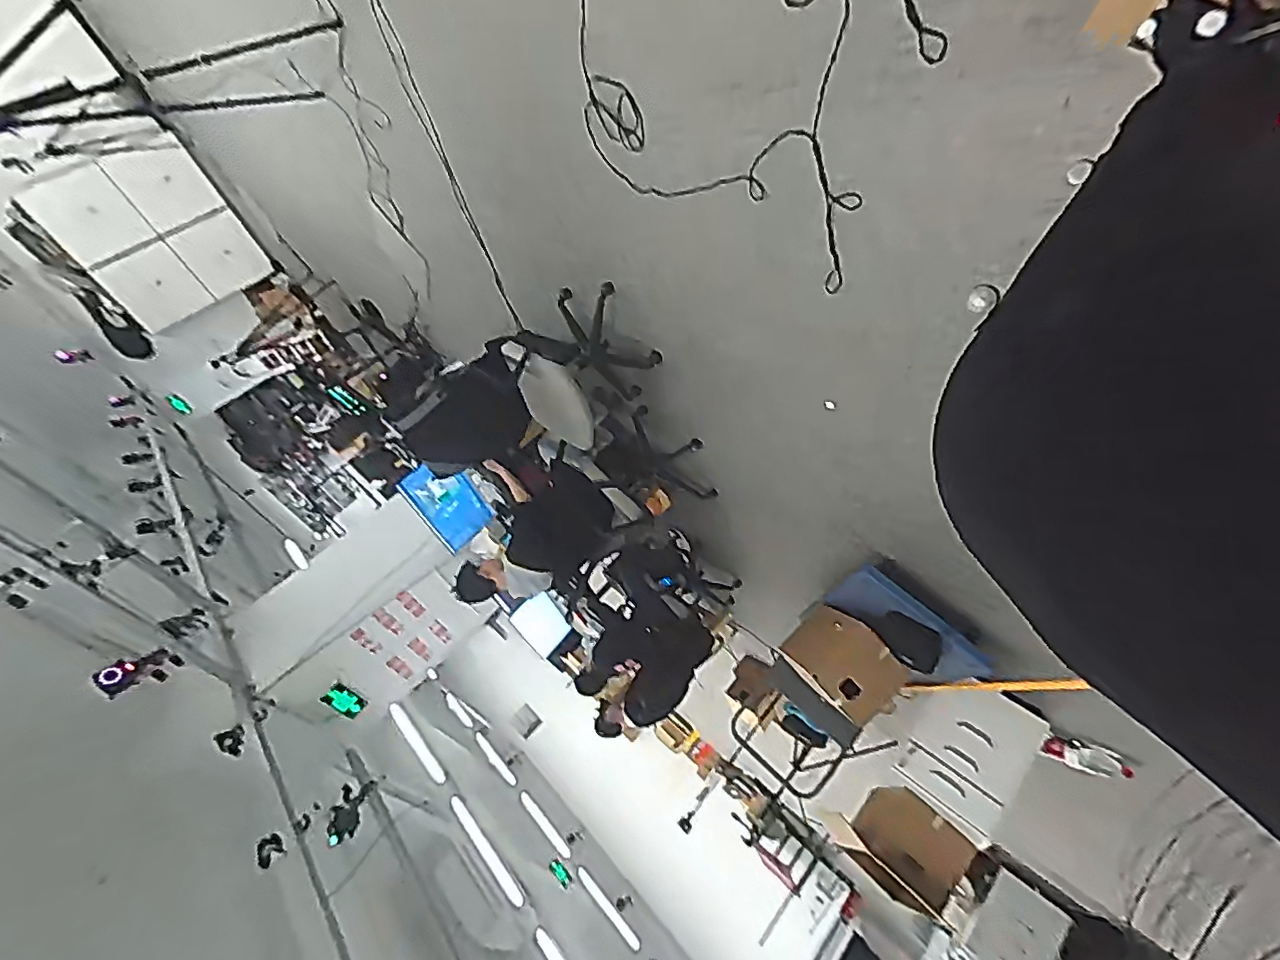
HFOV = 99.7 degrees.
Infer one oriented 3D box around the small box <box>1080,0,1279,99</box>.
[{"bbox_3d":[0.544,-0.477,0.462,0.168,0.179,0.176,34,117,13],"label":"small box"}]
